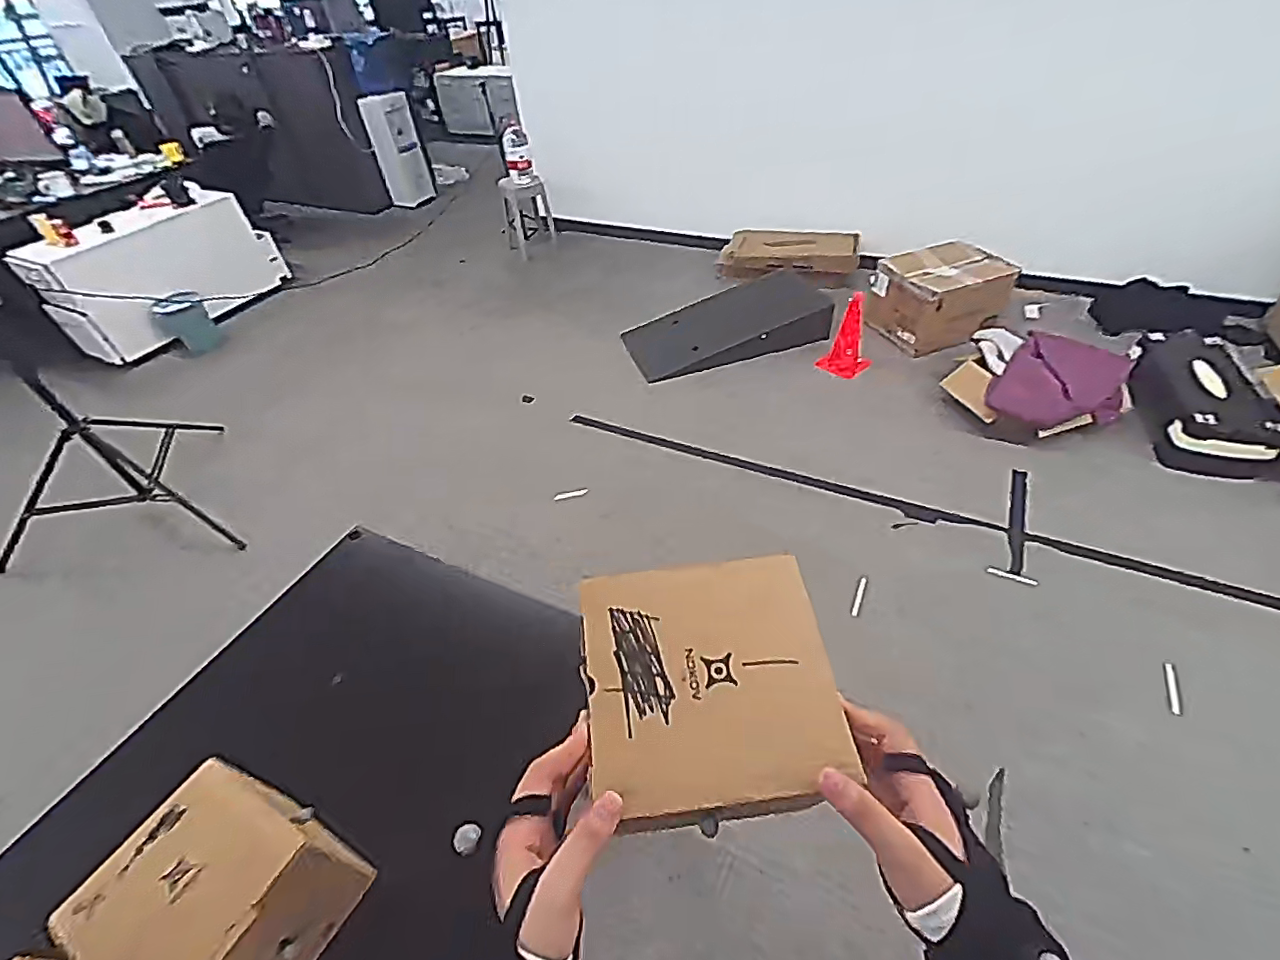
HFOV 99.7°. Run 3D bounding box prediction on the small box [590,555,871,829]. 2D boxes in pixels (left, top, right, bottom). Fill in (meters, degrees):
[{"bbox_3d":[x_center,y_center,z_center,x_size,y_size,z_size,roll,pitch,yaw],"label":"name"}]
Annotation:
[{"bbox_3d":[0.057,0.182,0.451,0.179,0.176,0.168,-6,55,-3],"label":"small box"}]
